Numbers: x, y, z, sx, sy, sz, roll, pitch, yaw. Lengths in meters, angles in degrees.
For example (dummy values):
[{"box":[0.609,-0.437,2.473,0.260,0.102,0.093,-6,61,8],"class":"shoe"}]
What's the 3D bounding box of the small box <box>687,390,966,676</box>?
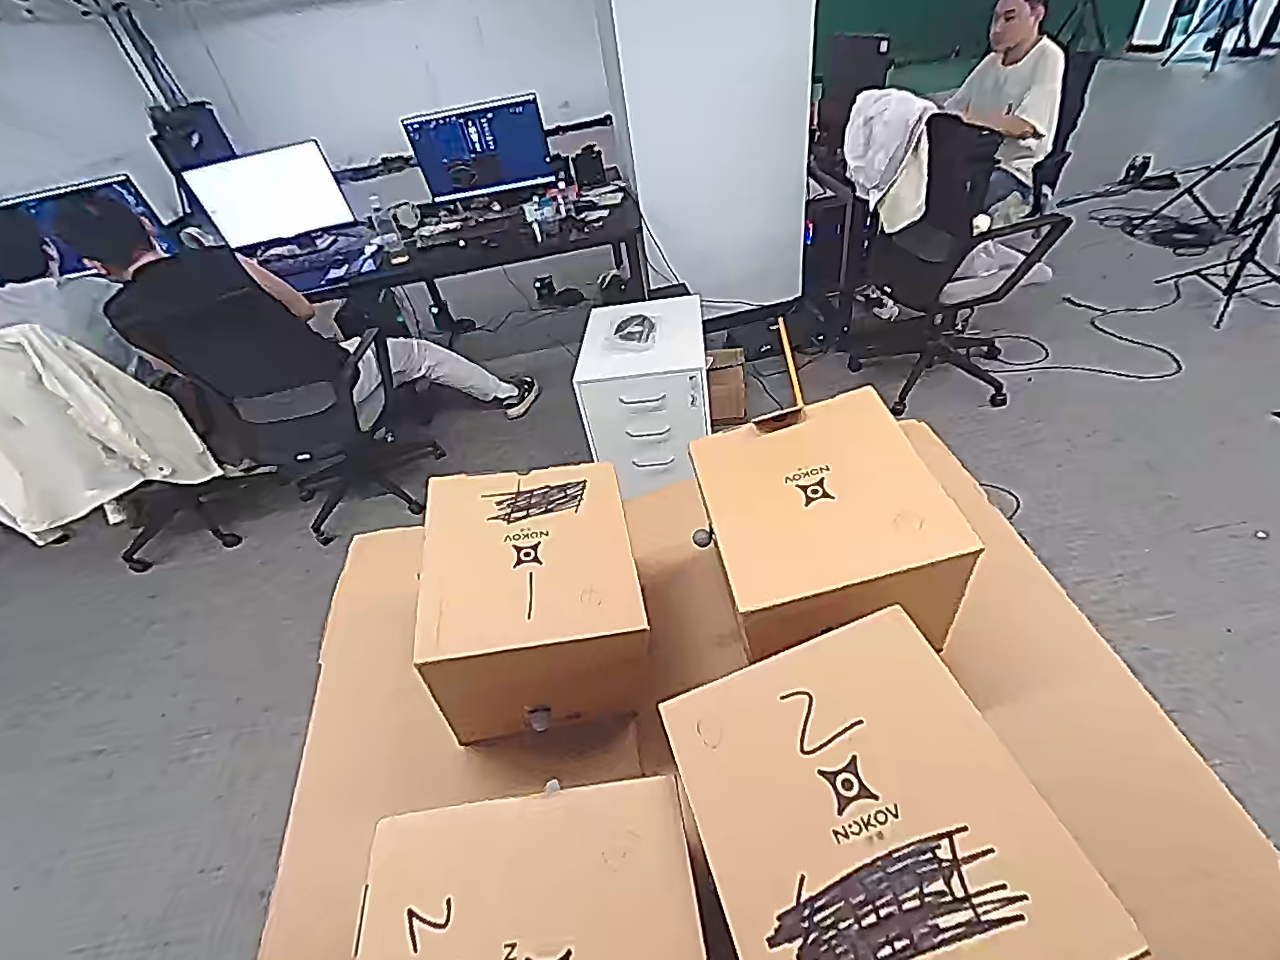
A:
[{"box":[0.153,0.056,0.481,0.168,0.176,0.179,-17,46,5],"class":"small box"}]
